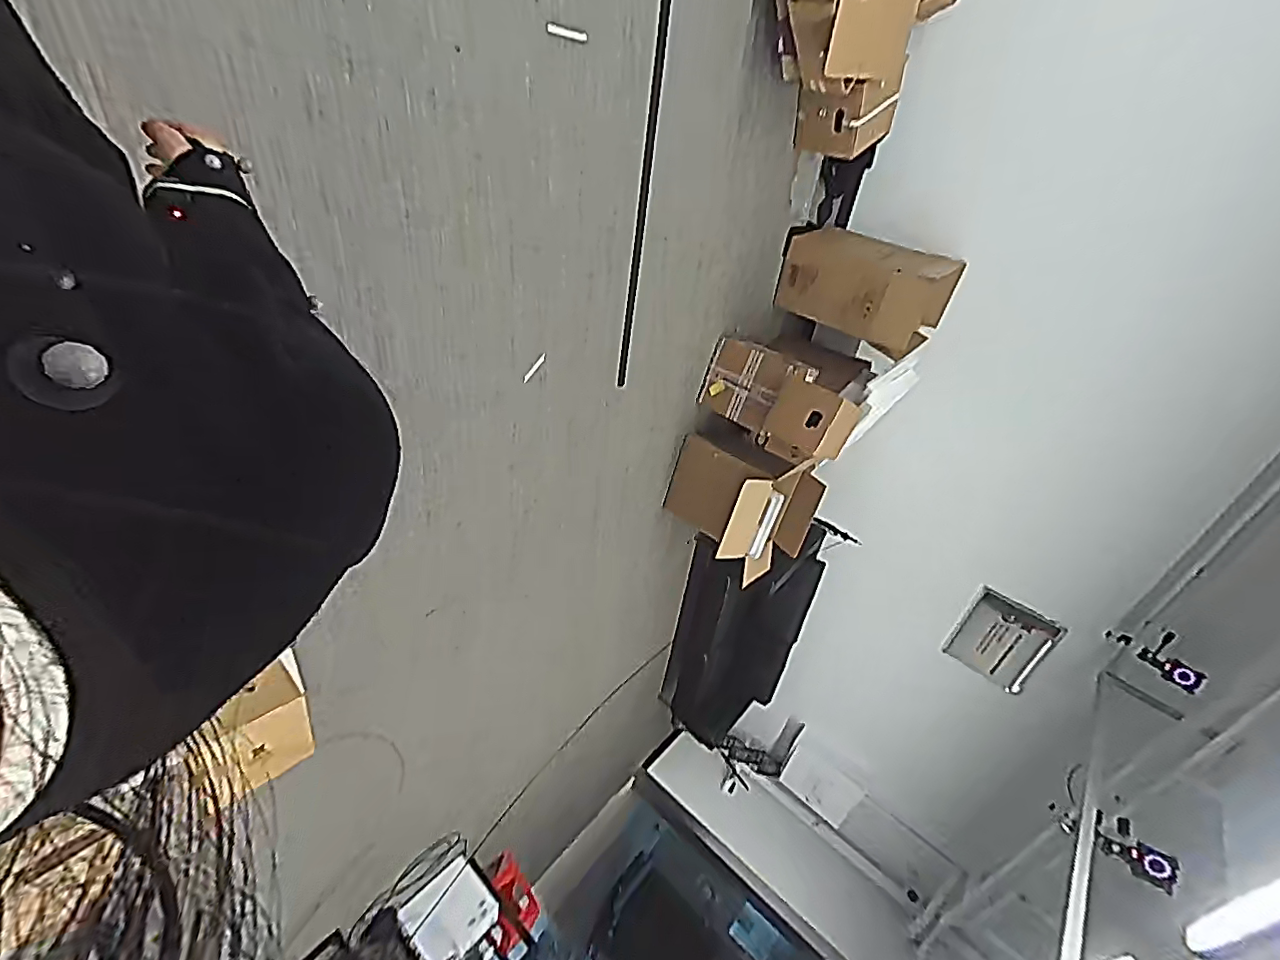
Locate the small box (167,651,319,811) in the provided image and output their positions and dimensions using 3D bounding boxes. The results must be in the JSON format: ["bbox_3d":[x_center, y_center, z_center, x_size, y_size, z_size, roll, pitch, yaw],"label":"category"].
[{"bbox_3d":[-0.715,0.438,0.979,0.168,0.176,0.179,-24,136,-45],"label":"small box"}]
